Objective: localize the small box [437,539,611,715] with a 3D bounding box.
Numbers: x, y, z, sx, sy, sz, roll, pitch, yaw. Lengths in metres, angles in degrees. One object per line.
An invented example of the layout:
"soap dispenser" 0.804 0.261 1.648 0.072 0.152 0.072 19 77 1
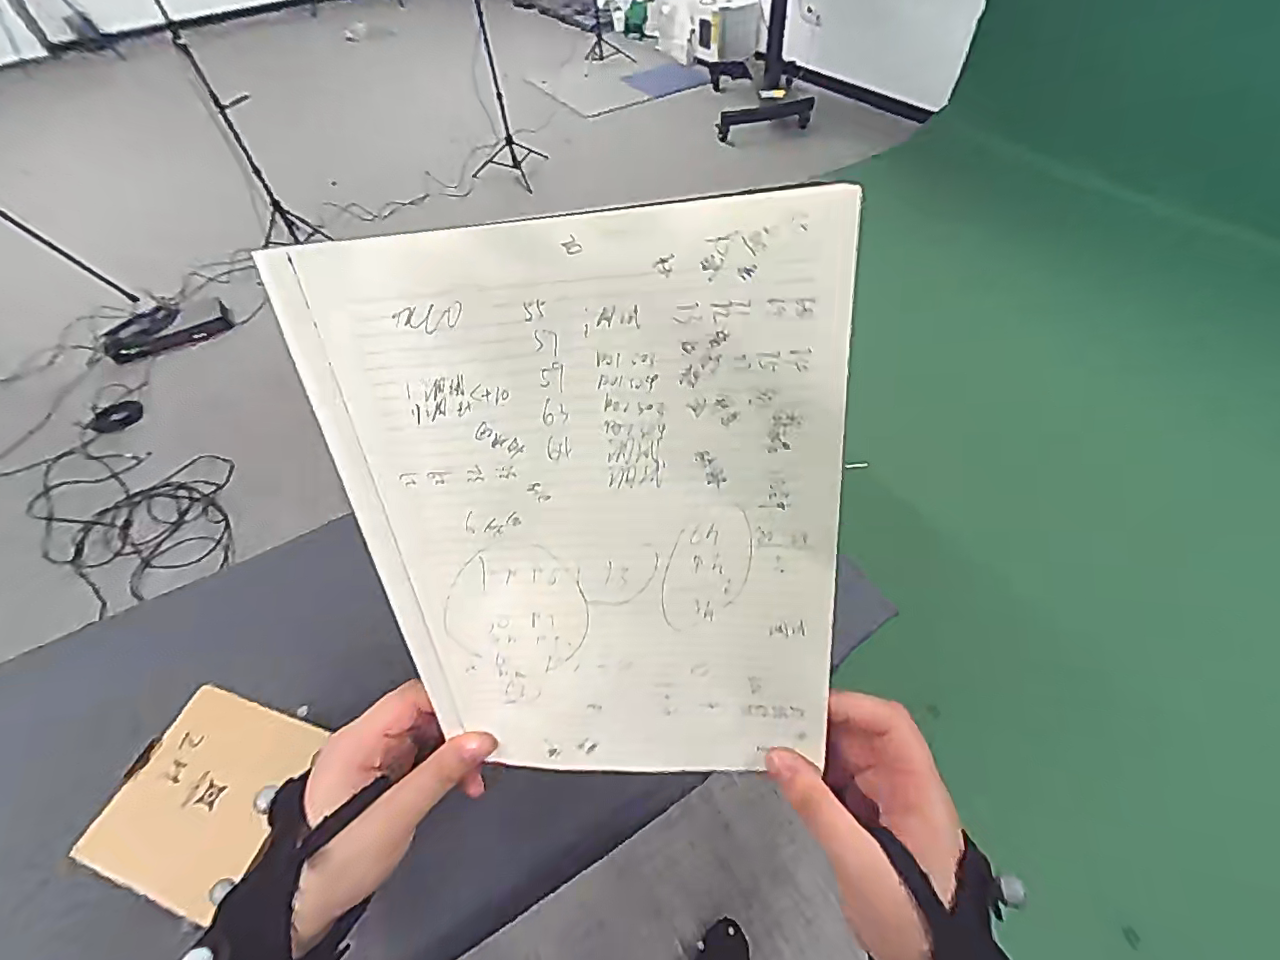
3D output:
"small box" -0.130 0.191 0.692 0.179 0.176 0.168 -4 52 2

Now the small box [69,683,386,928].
"small box" -0.418 0.349 0.588 0.179 0.176 0.168 13 53 14
